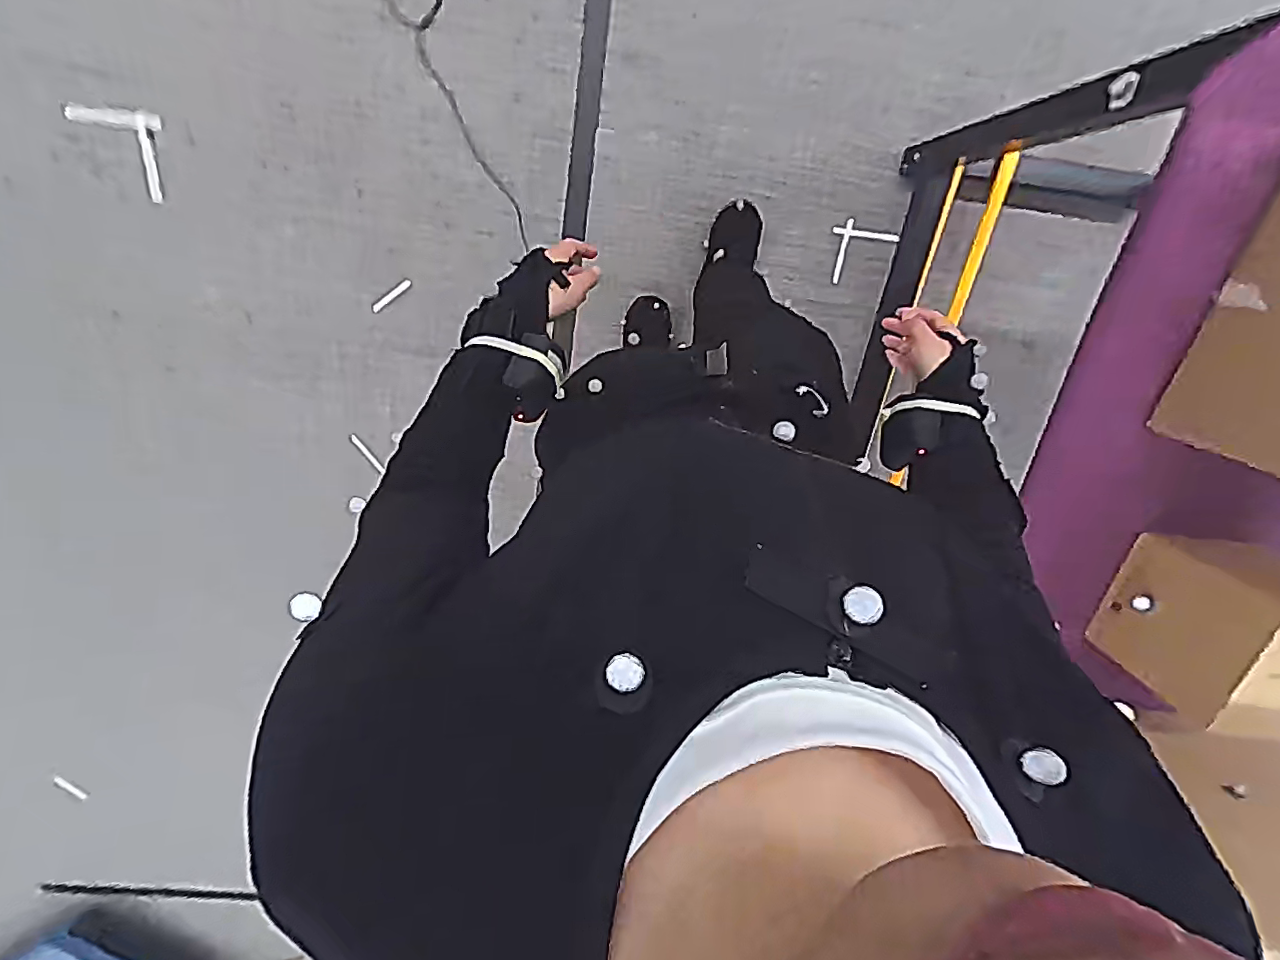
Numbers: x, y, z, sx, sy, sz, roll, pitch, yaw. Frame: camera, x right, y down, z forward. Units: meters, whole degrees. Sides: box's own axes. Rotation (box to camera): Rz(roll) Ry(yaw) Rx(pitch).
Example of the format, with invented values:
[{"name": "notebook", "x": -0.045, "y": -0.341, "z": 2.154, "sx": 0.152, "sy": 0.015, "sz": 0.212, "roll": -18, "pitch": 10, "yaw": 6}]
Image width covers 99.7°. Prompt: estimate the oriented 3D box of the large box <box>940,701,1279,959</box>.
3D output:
[{"name": "large box", "x": 0.706, "y": 0.528, "z": 0.715, "sx": 0.408, "sy": 0.320, "sz": 0.320, "roll": 6, "pitch": 113, "yaw": -7}]
